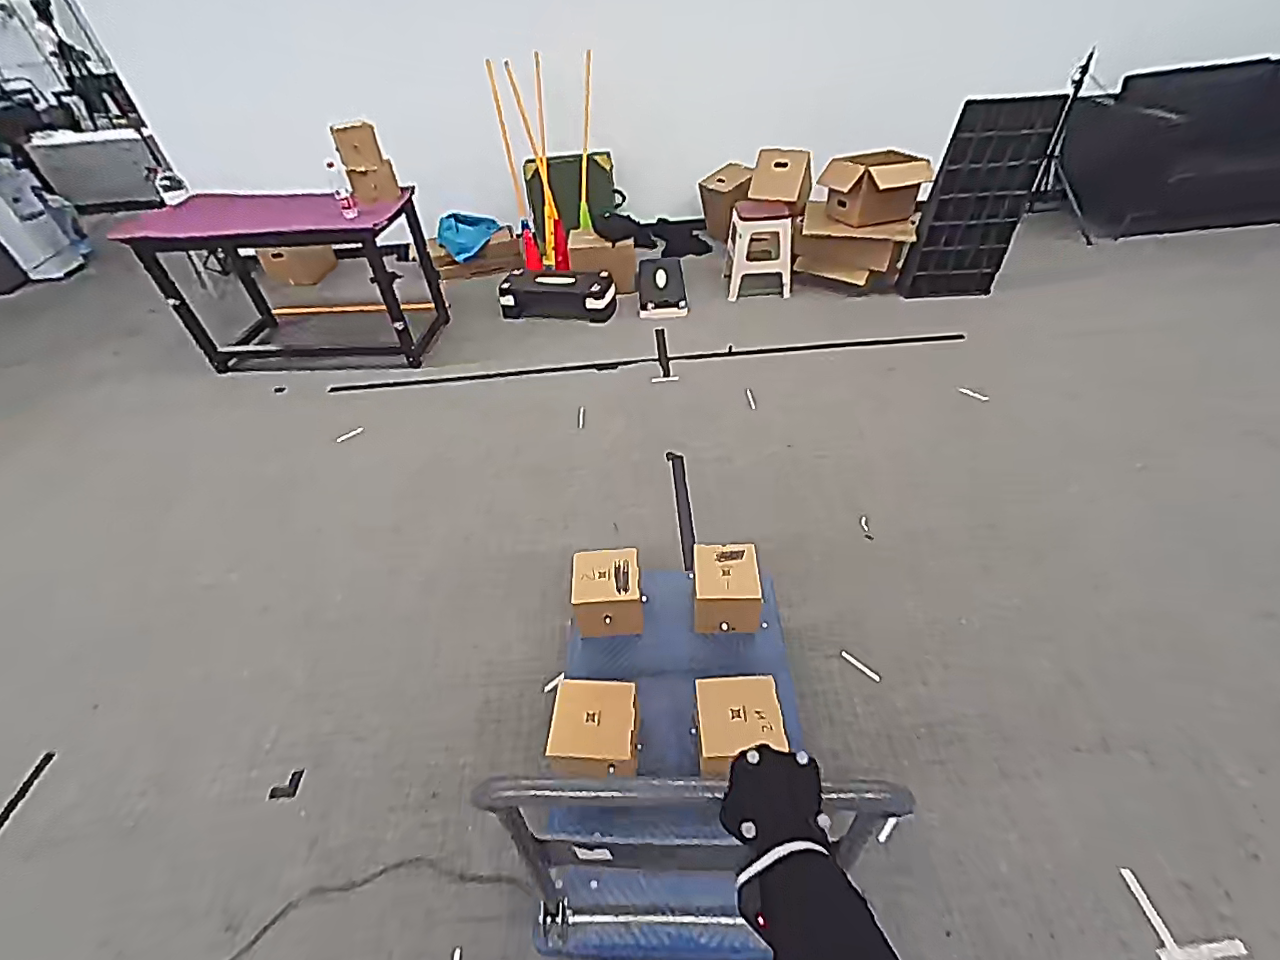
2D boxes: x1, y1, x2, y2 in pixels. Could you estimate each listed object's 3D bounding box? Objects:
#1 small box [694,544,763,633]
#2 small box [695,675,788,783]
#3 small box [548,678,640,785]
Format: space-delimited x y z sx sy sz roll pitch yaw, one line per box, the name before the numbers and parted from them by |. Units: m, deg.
small box | 0.232 0.292 1.463 0.168 0.176 0.179 -1 44 4
small box | 0.215 0.550 1.189 0.179 0.176 0.168 -3 43 1
small box | -0.094 0.561 1.202 0.179 0.176 0.168 1 43 4
